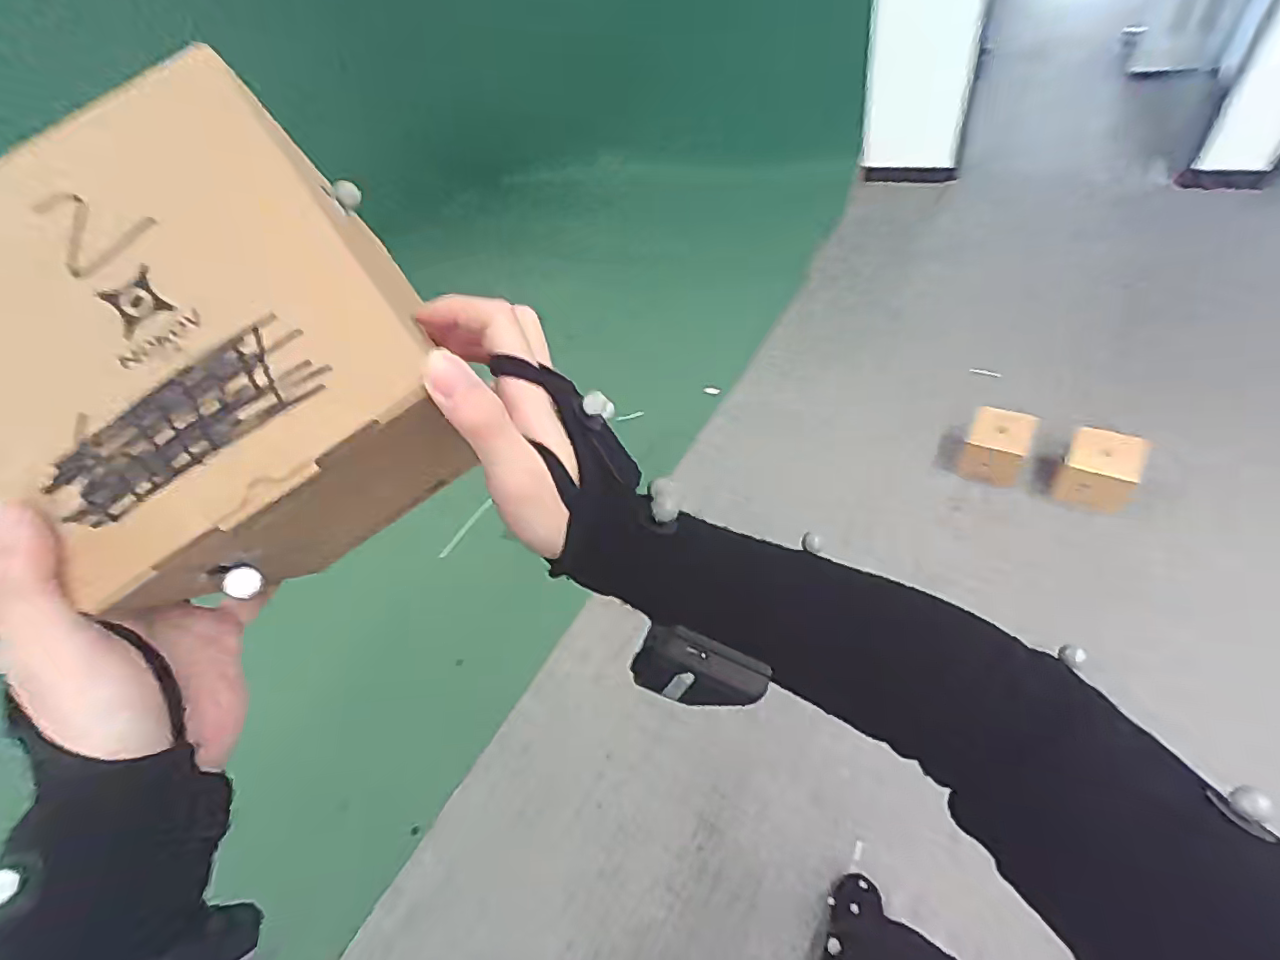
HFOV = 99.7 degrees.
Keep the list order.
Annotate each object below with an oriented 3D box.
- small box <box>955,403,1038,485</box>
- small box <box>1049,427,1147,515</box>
[{"bbox_3d":[1.141,-0.112,1.741,0.168,0.176,0.179,23,61,29],"label":"small box"},{"bbox_3d":[1.360,-0.024,1.616,0.168,0.176,0.179,22,61,29],"label":"small box"}]
